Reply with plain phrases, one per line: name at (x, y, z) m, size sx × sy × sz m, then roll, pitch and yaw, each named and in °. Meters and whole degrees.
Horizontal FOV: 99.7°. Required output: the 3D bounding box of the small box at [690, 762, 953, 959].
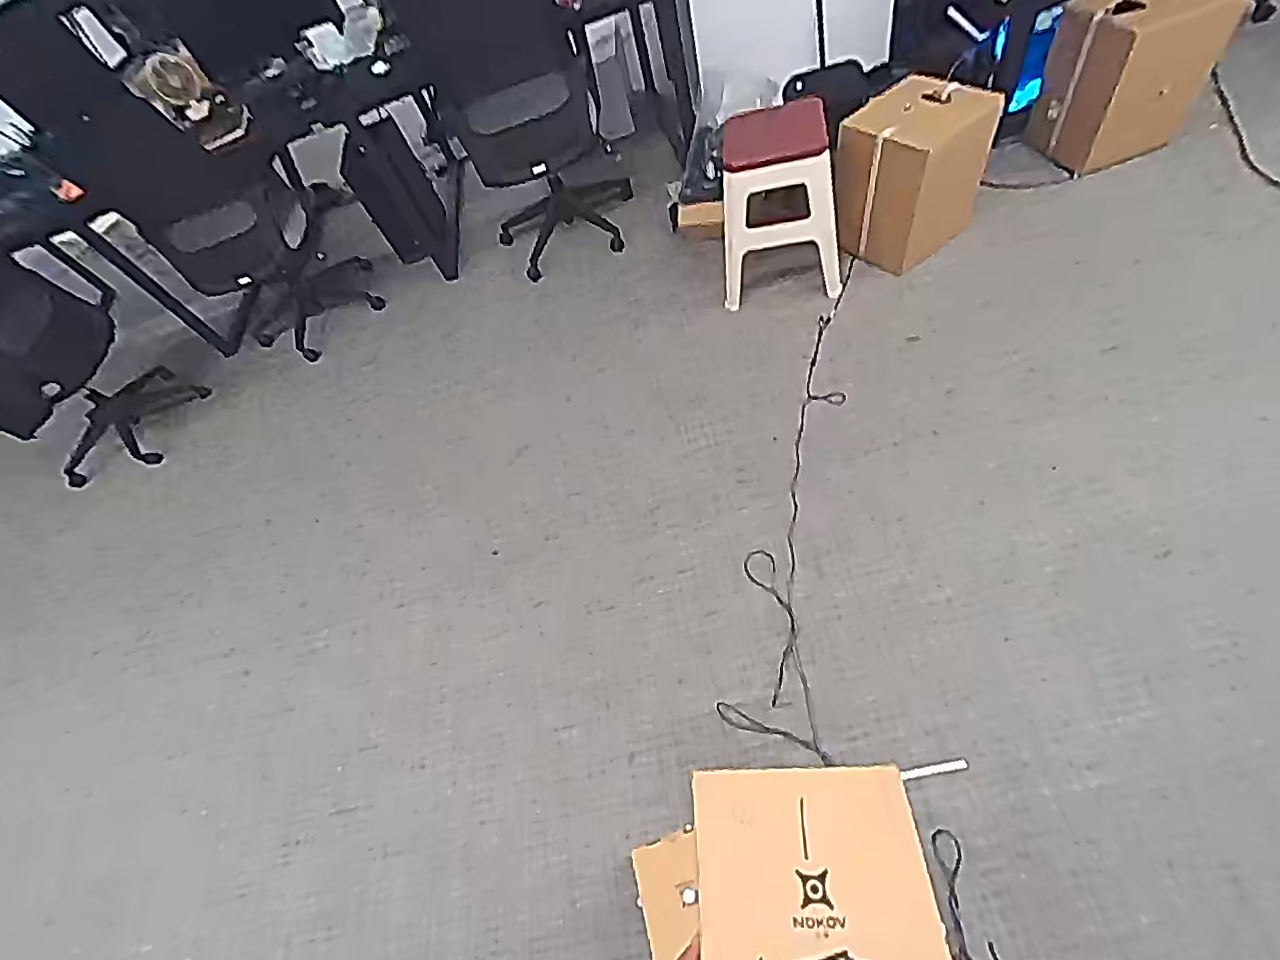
small box at (0.130, 0.341, 0.430) m, size 0.168 × 0.176 × 0.179 m, roll -4°, pitch 49°, yaw 5°
